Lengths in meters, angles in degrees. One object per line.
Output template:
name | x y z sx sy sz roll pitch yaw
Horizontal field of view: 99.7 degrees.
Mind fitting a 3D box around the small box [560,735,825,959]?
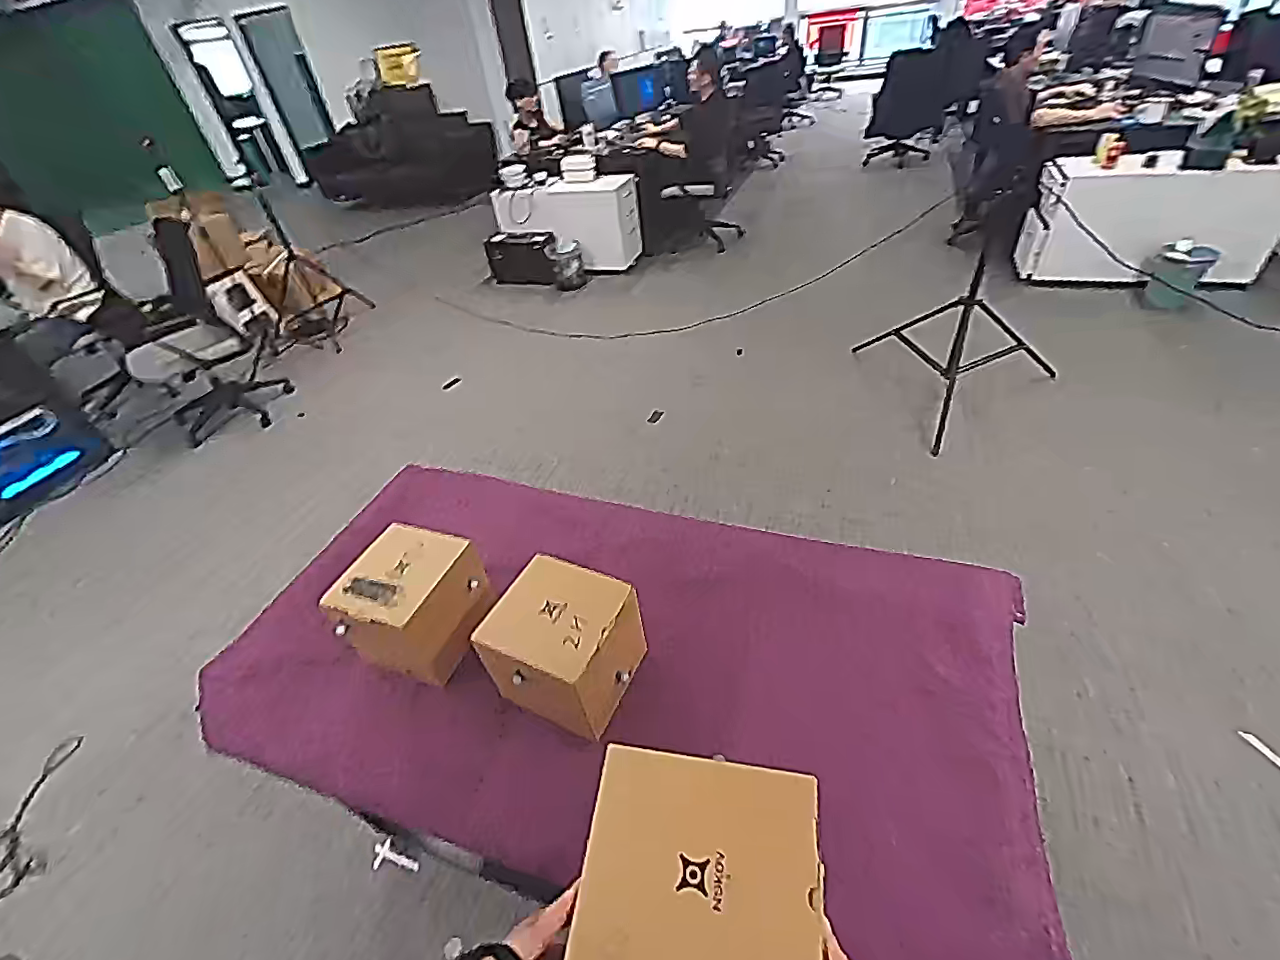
small box | 0.050 0.341 0.452 0.179 0.176 0.168 5 44 10

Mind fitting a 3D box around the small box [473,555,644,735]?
small box | -0.109 0.245 0.806 0.179 0.176 0.168 14 46 24
